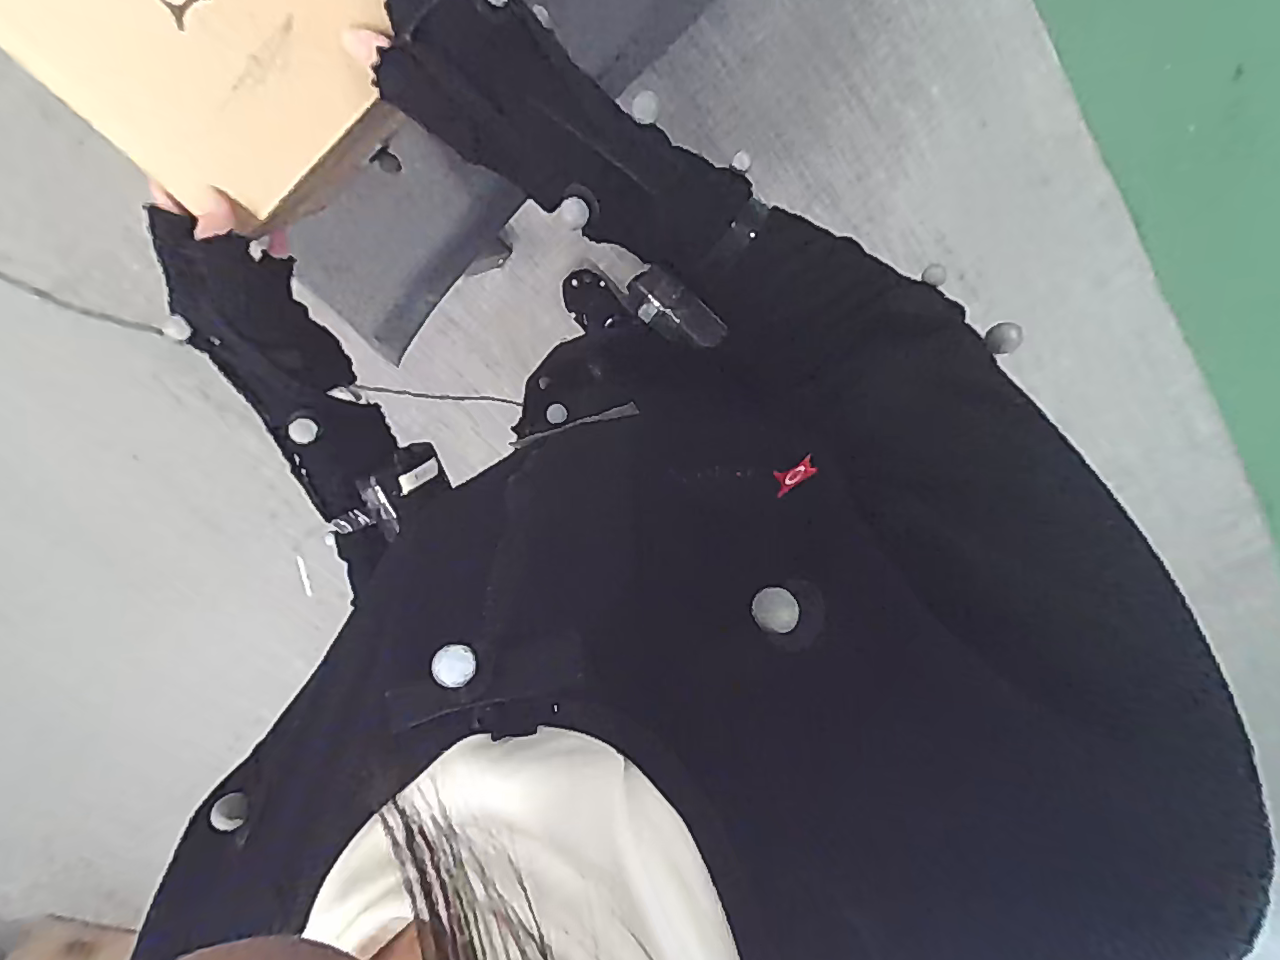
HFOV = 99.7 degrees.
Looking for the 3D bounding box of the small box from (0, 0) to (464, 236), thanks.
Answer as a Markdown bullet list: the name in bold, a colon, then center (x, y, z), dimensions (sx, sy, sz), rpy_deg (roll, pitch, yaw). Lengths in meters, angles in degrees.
- **small box**: center (-0.223, -0.270, 0.291), dimensions (0.168, 0.176, 0.179), rpy_deg (-31, 125, 15)
